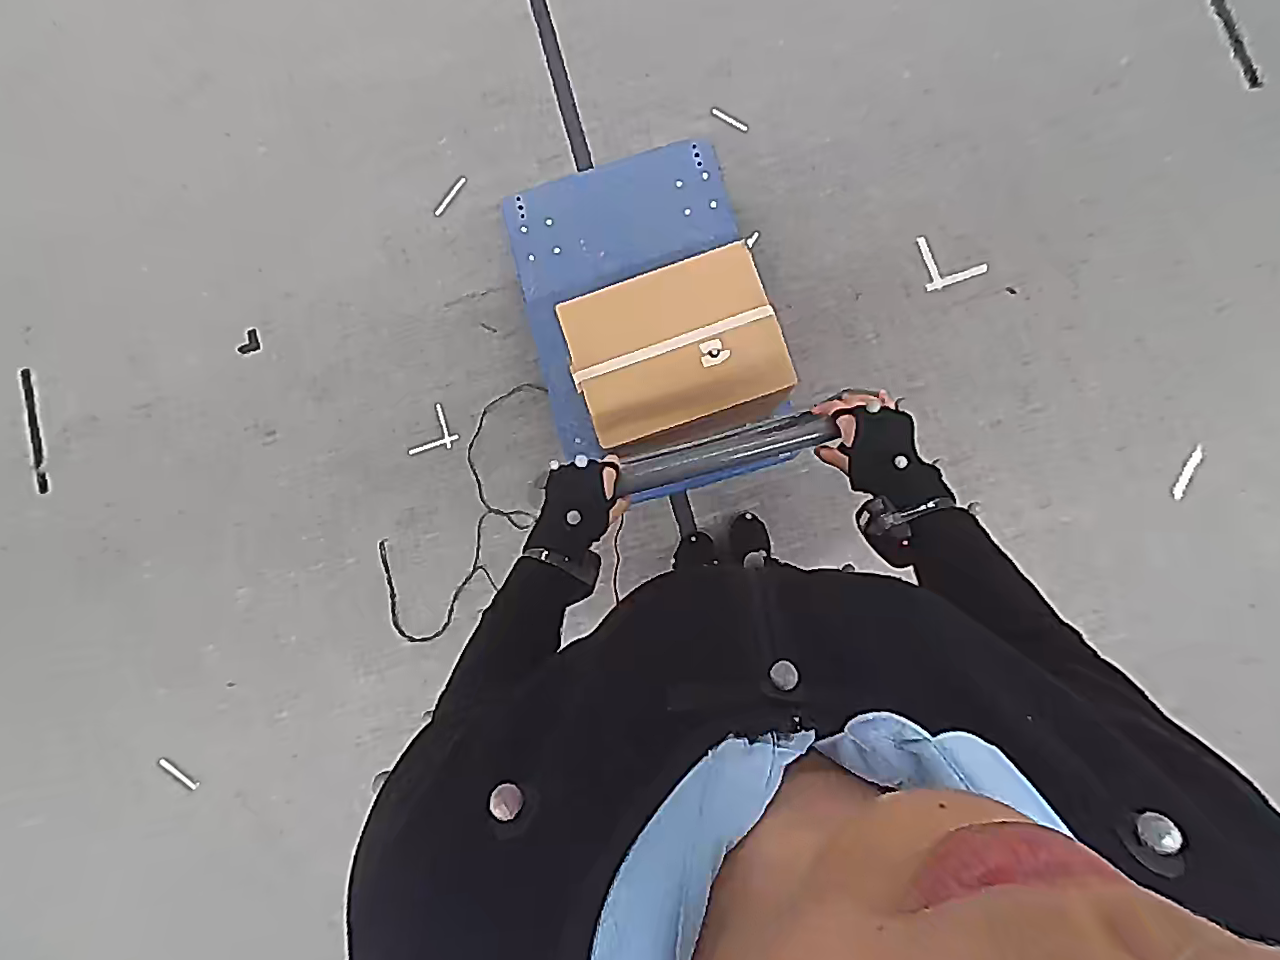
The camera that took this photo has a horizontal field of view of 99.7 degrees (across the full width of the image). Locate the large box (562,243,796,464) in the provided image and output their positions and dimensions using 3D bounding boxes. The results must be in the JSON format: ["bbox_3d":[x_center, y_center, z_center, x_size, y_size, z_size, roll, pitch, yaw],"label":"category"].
[{"bbox_3d":[0.079,-0.258,1.226,0.408,0.320,0.320,-19,85,1],"label":"large box"}]
